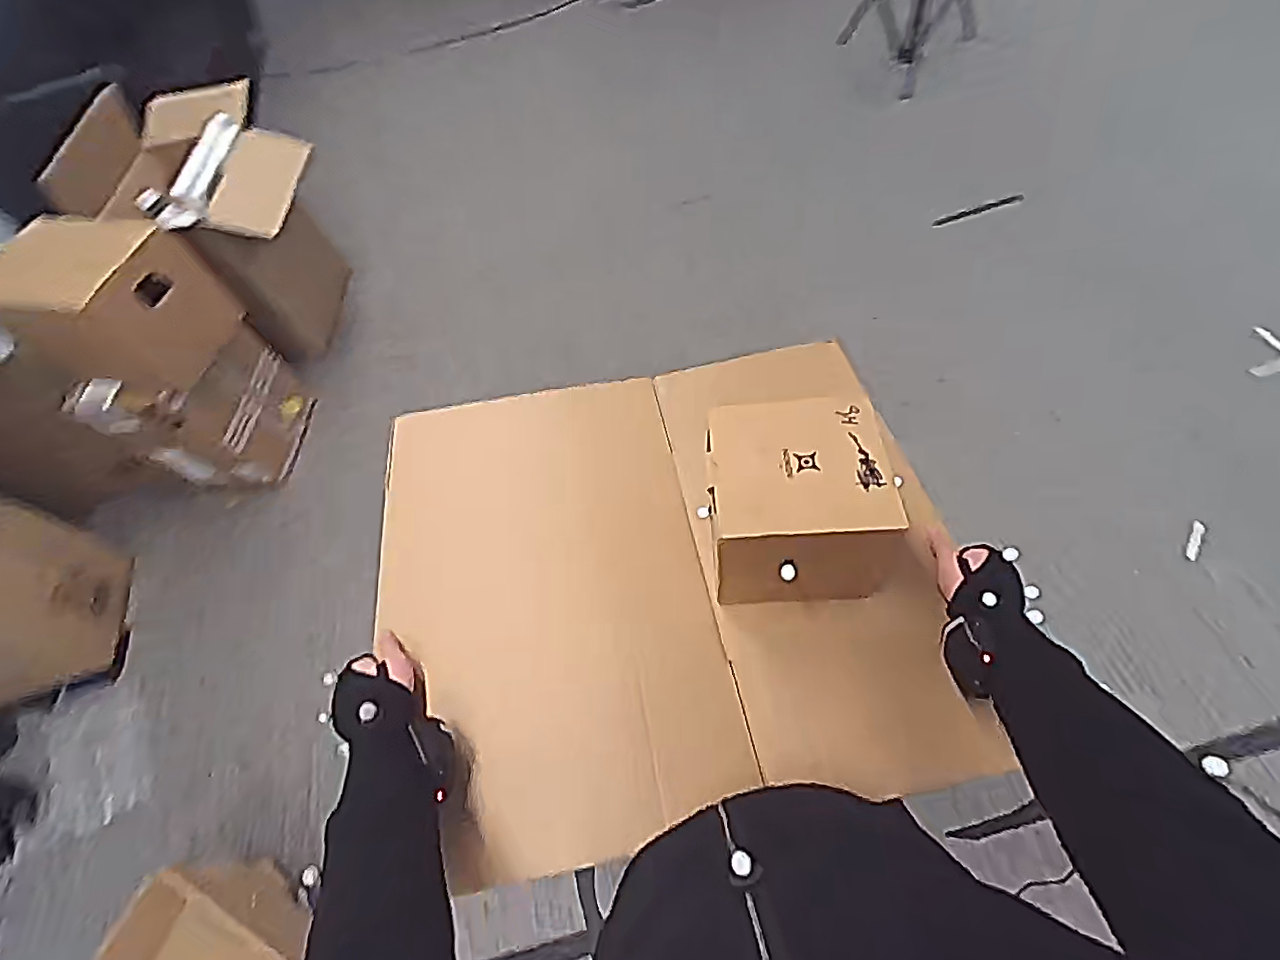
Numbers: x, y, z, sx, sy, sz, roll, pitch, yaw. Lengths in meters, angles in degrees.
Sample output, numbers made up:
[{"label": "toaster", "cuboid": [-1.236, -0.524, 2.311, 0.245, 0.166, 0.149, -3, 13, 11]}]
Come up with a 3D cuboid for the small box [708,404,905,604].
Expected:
[{"label": "small box", "cuboid": [0.174, 0.035, 0.618, 0.179, 0.176, 0.168, -4, 56, 7]}]
